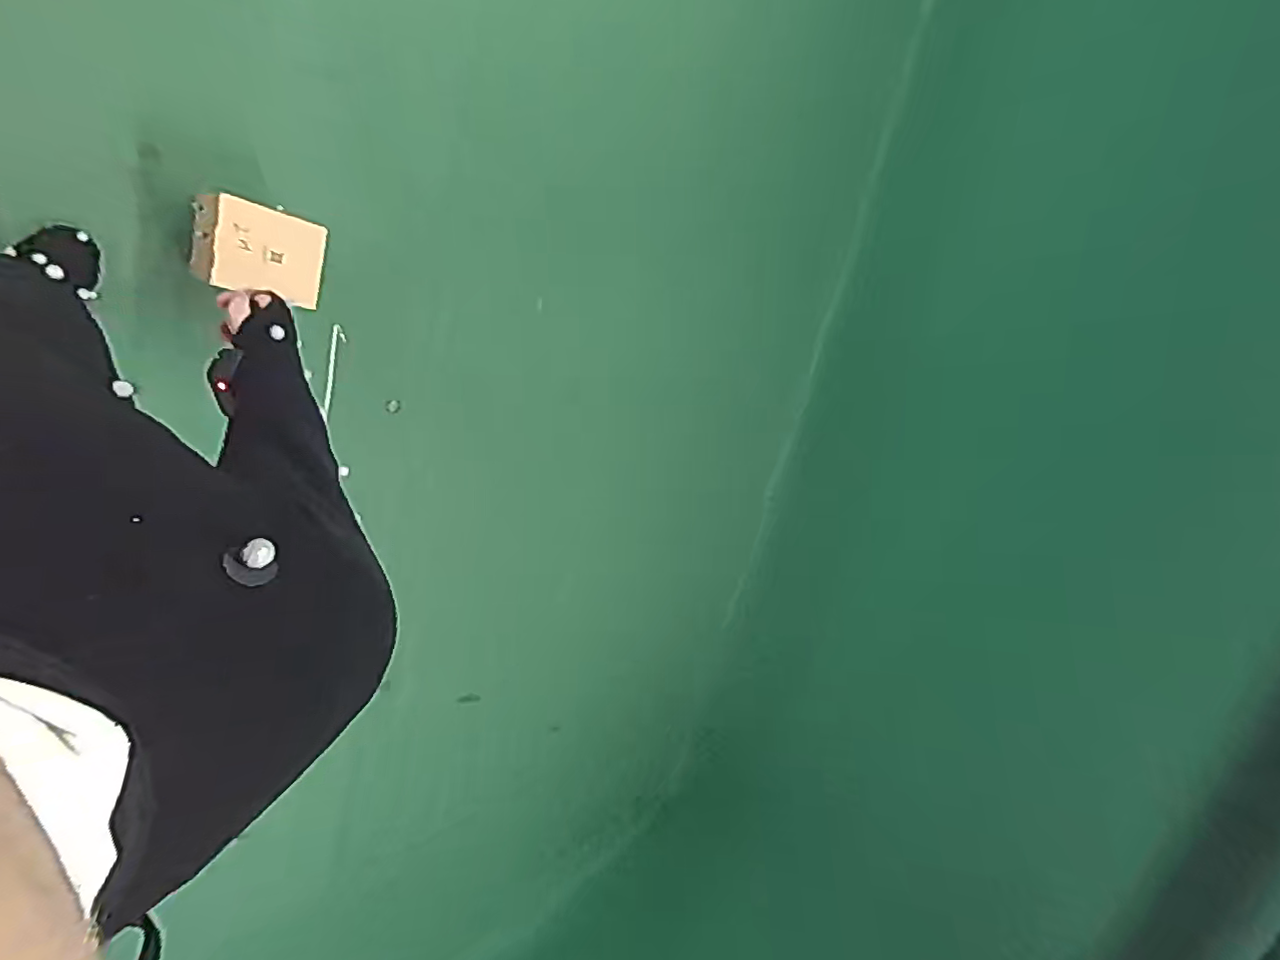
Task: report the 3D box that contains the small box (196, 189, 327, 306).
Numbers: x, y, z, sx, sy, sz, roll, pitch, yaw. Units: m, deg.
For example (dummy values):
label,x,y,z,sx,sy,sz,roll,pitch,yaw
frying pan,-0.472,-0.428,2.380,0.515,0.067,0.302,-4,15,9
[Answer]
label,x,y,z,sx,sy,sz,roll,pitch,yaw
small box,-0.759,-0.464,1.082,0.179,0.176,0.168,5,106,-46
